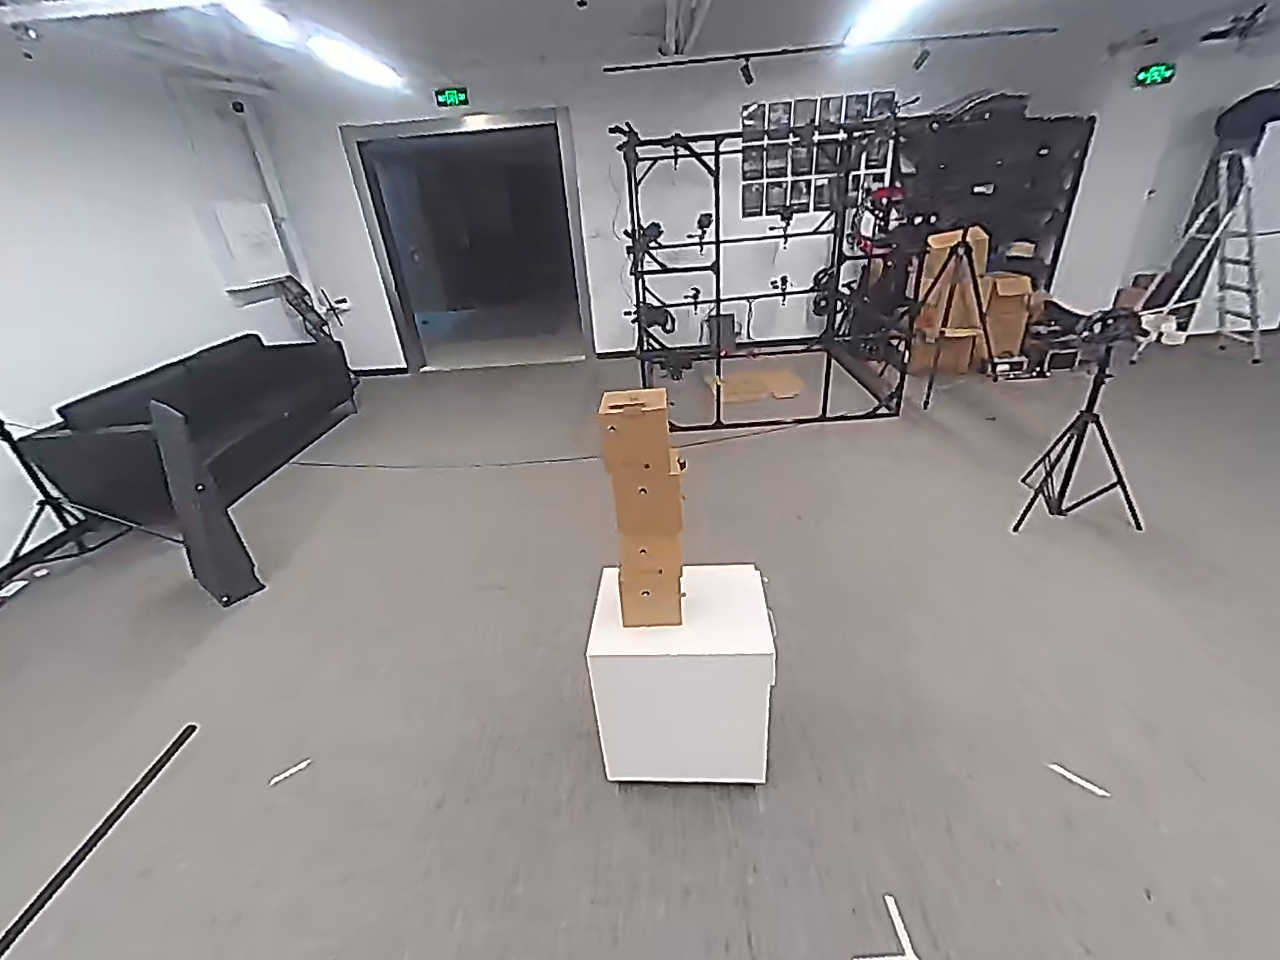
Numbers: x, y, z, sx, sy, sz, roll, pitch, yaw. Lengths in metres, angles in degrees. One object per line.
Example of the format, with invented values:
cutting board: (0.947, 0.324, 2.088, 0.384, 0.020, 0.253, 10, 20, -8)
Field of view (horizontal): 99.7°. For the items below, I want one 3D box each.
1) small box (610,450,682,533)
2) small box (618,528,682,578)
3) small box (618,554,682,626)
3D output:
small box: (0.021, 0.032, 1.456, 0.179, 0.176, 0.168, -3, 28, 4)
small box: (0.033, 0.169, 1.547, 0.168, 0.176, 0.179, -3, 27, 4)
small box: (0.032, 0.319, 1.611, 0.179, 0.176, 0.168, -3, 28, 3)
